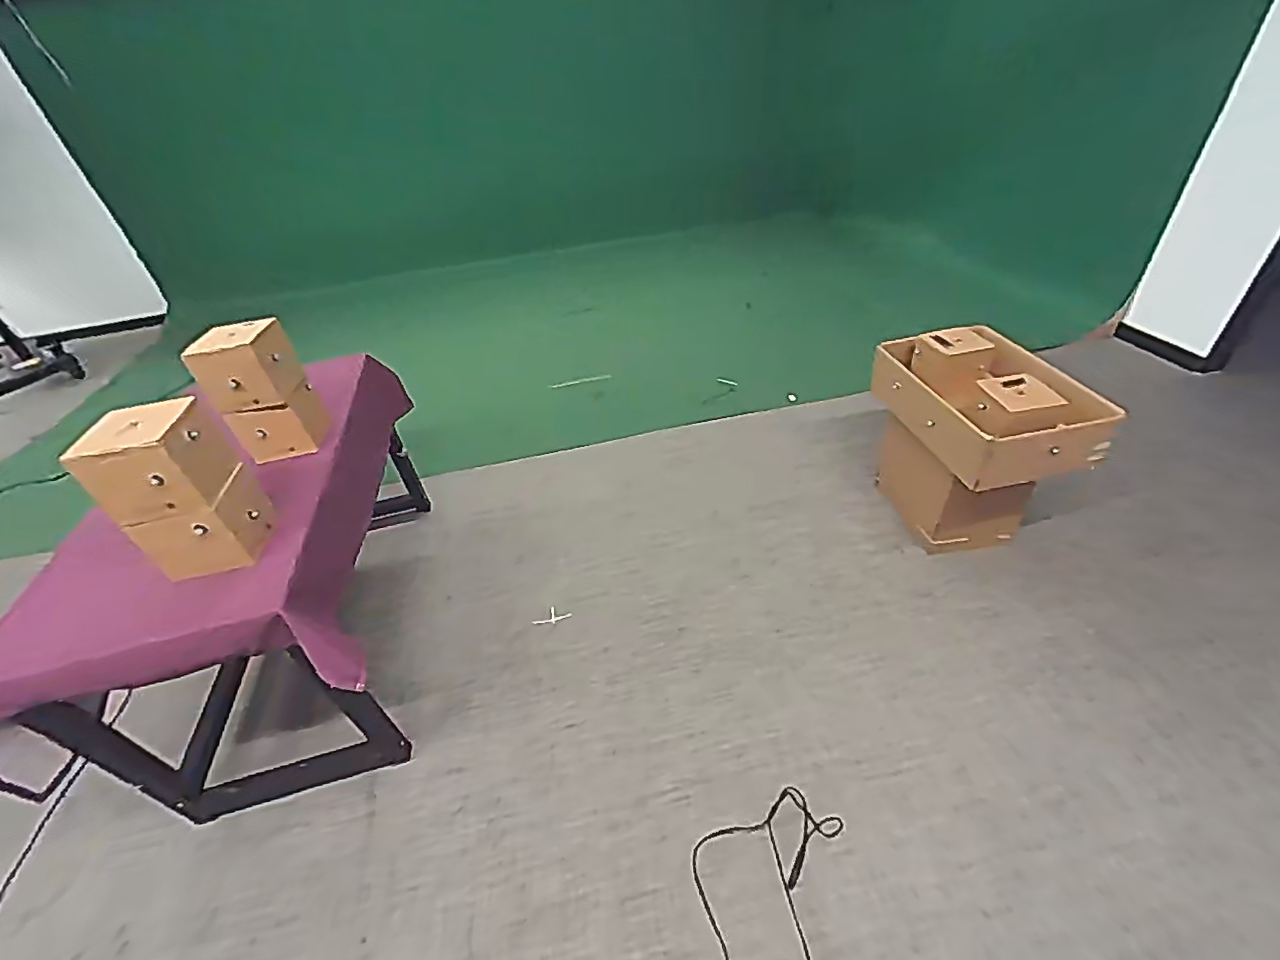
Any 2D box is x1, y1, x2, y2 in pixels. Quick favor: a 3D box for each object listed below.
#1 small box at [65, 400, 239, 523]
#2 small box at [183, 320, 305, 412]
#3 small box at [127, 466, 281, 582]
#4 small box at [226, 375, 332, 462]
[{"bbox_3d":[-0.950,-0.032,1.079,0.168,0.176,0.179,-12,39,-6],"label":"small box"},{"bbox_3d":[-1.008,-0.289,1.401,0.168,0.176,0.179,-10,40,-2],"label":"small box"},{"bbox_3d":[-0.929,0.096,1.178,0.179,0.176,0.168,-13,39,-4],"label":"small box"},{"bbox_3d":[-0.994,-0.166,1.510,0.168,0.176,0.179,-13,39,-6],"label":"small box"}]
